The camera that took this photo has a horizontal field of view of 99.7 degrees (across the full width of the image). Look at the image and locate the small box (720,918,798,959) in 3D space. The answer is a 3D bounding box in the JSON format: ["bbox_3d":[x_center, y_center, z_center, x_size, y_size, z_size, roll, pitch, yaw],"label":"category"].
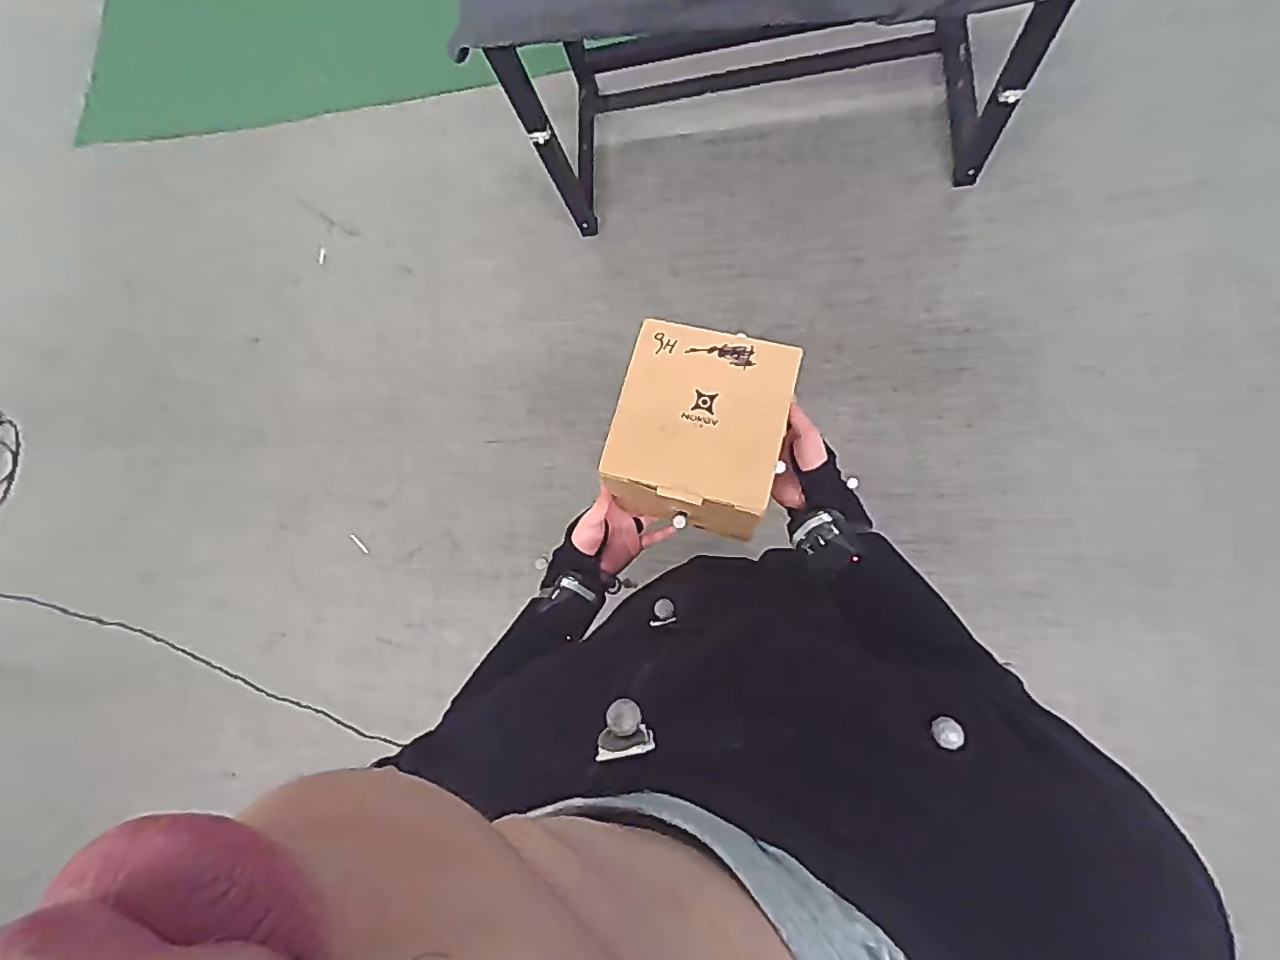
[{"bbox_3d":[0.292,1.215,1.290,0.168,0.176,0.179,43,92,15],"label":"small box"}]

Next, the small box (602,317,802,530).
[{"bbox_3d":[0.070,-0.051,0.609,0.168,0.176,0.179,14,78,9],"label":"small box"}]
